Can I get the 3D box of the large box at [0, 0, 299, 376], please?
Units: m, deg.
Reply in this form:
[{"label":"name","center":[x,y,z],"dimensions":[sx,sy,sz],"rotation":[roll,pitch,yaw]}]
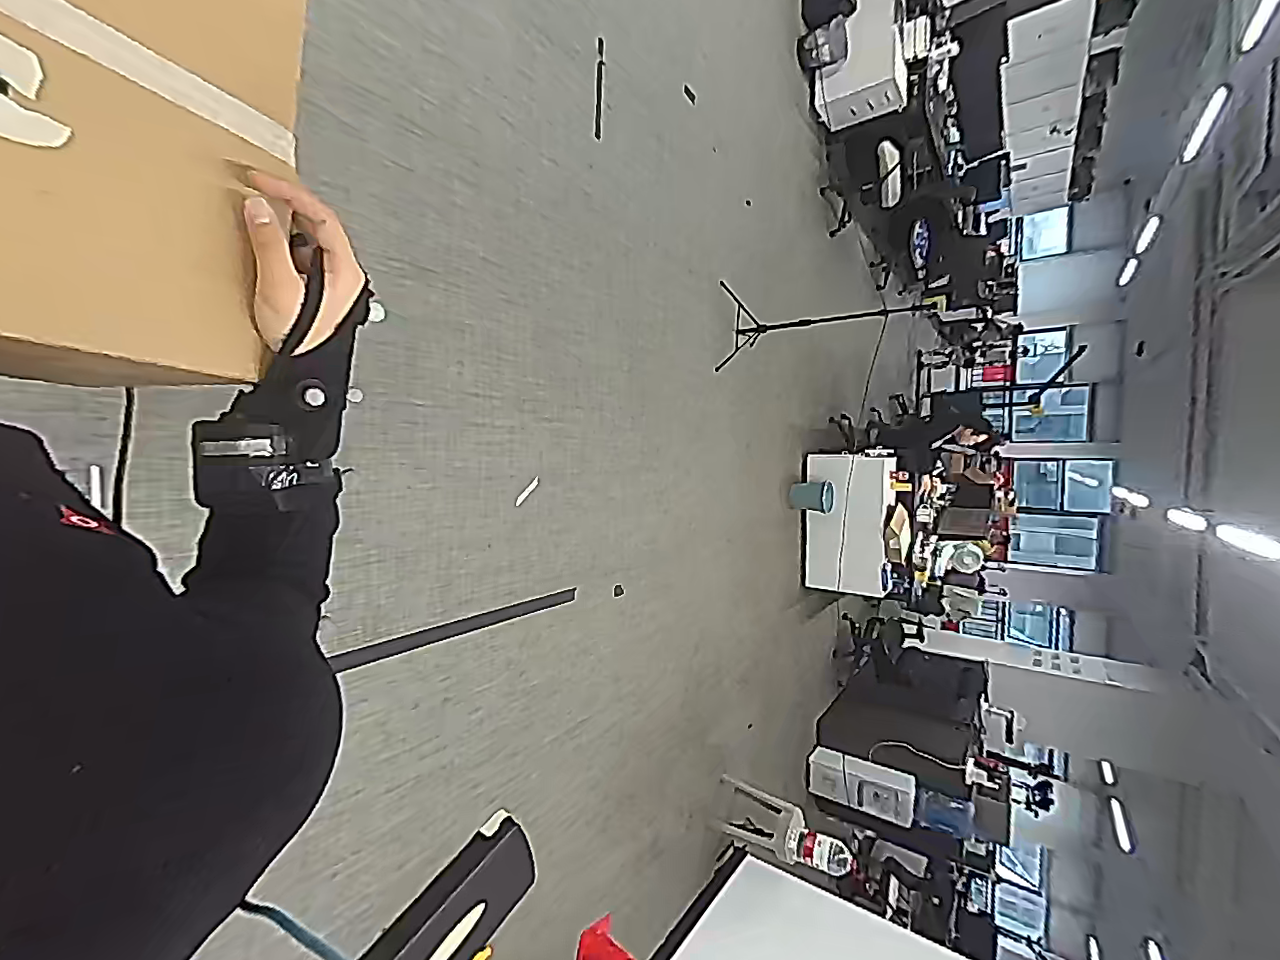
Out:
[{"label":"large box","center":[-0.468,-0.242,0.266],"dimensions":[0.408,0.320,0.320],"rotation":[5,91,-62]}]
